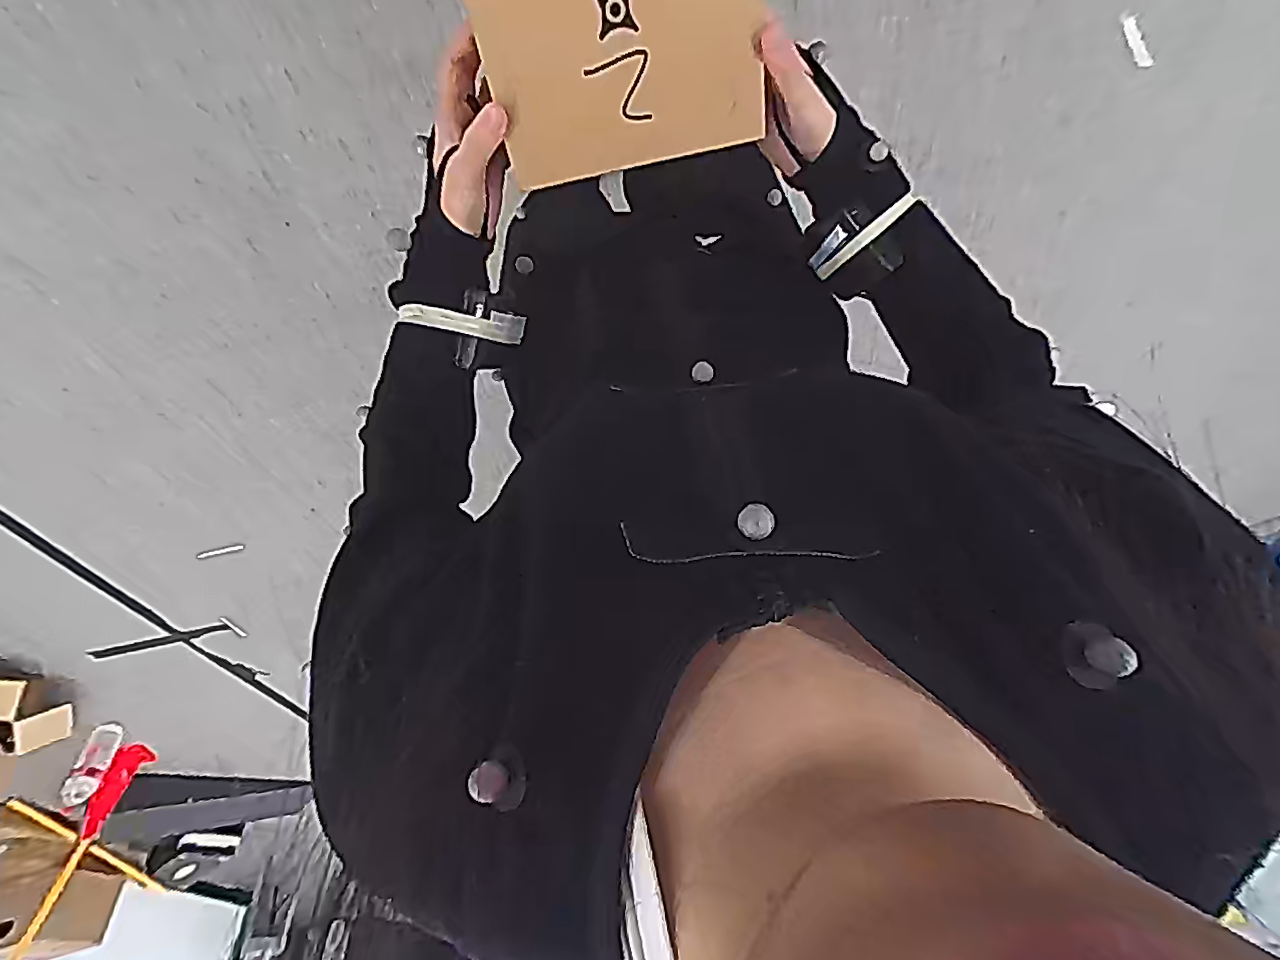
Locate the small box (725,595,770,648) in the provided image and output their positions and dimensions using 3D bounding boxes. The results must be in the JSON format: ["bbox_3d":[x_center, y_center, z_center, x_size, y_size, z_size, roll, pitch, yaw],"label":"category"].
[{"bbox_3d":[0.495,0.651,2.515,0.168,0.176,0.179,-12,136,-2],"label":"small box"}]

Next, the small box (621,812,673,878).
[{"bbox_3d":[0.024,1.438,2.131,0.179,0.176,0.168,-12,136,-3],"label":"small box"}]
